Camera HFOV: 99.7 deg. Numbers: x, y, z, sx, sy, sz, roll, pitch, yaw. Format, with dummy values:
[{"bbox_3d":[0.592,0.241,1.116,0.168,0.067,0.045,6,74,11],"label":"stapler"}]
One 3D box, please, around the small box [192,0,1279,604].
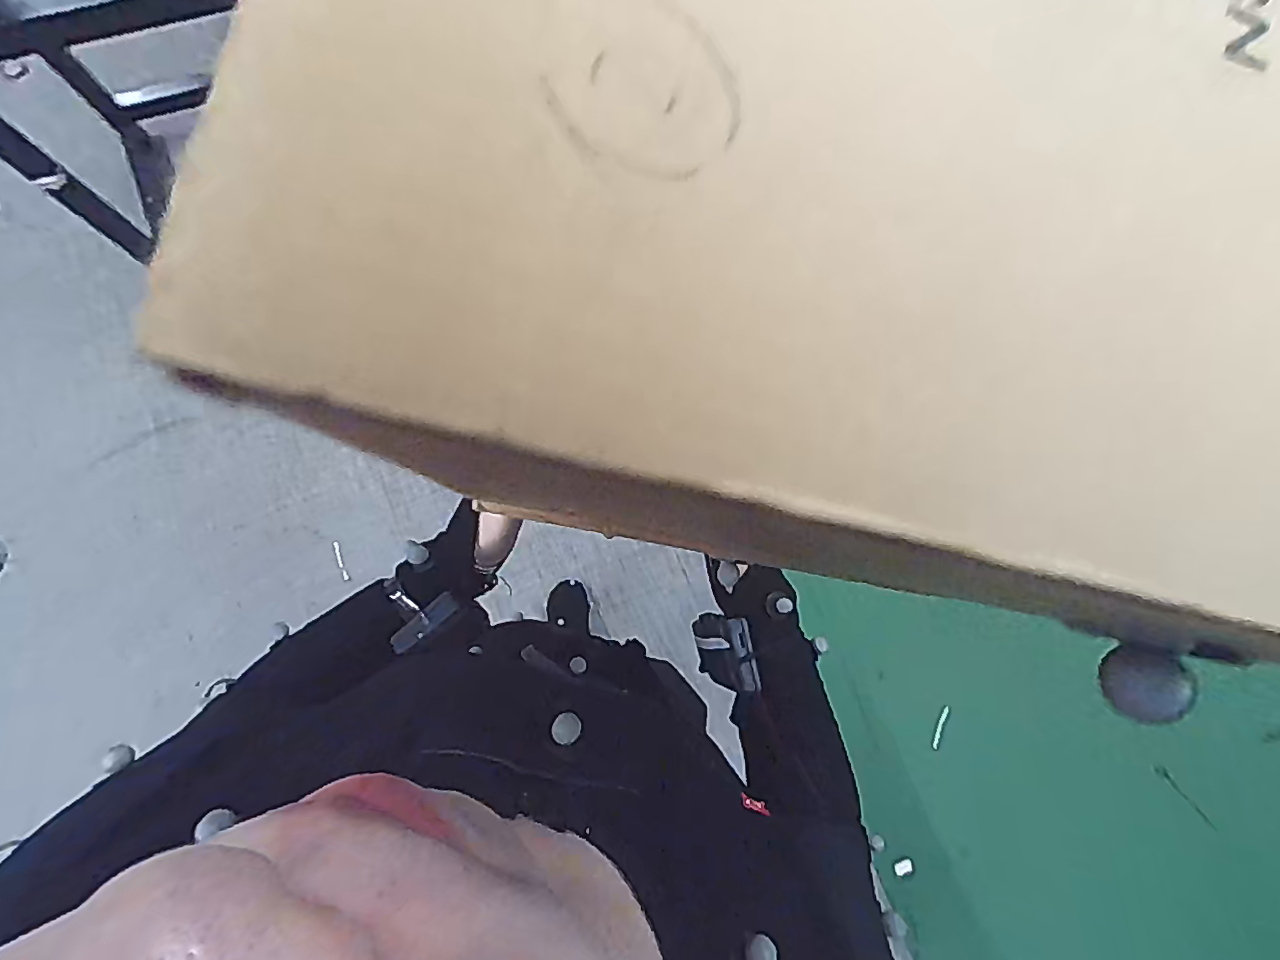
[{"bbox_3d":[0.046,-0.067,0.148,0.179,0.176,0.168,13,83,-9],"label":"small box"}]
